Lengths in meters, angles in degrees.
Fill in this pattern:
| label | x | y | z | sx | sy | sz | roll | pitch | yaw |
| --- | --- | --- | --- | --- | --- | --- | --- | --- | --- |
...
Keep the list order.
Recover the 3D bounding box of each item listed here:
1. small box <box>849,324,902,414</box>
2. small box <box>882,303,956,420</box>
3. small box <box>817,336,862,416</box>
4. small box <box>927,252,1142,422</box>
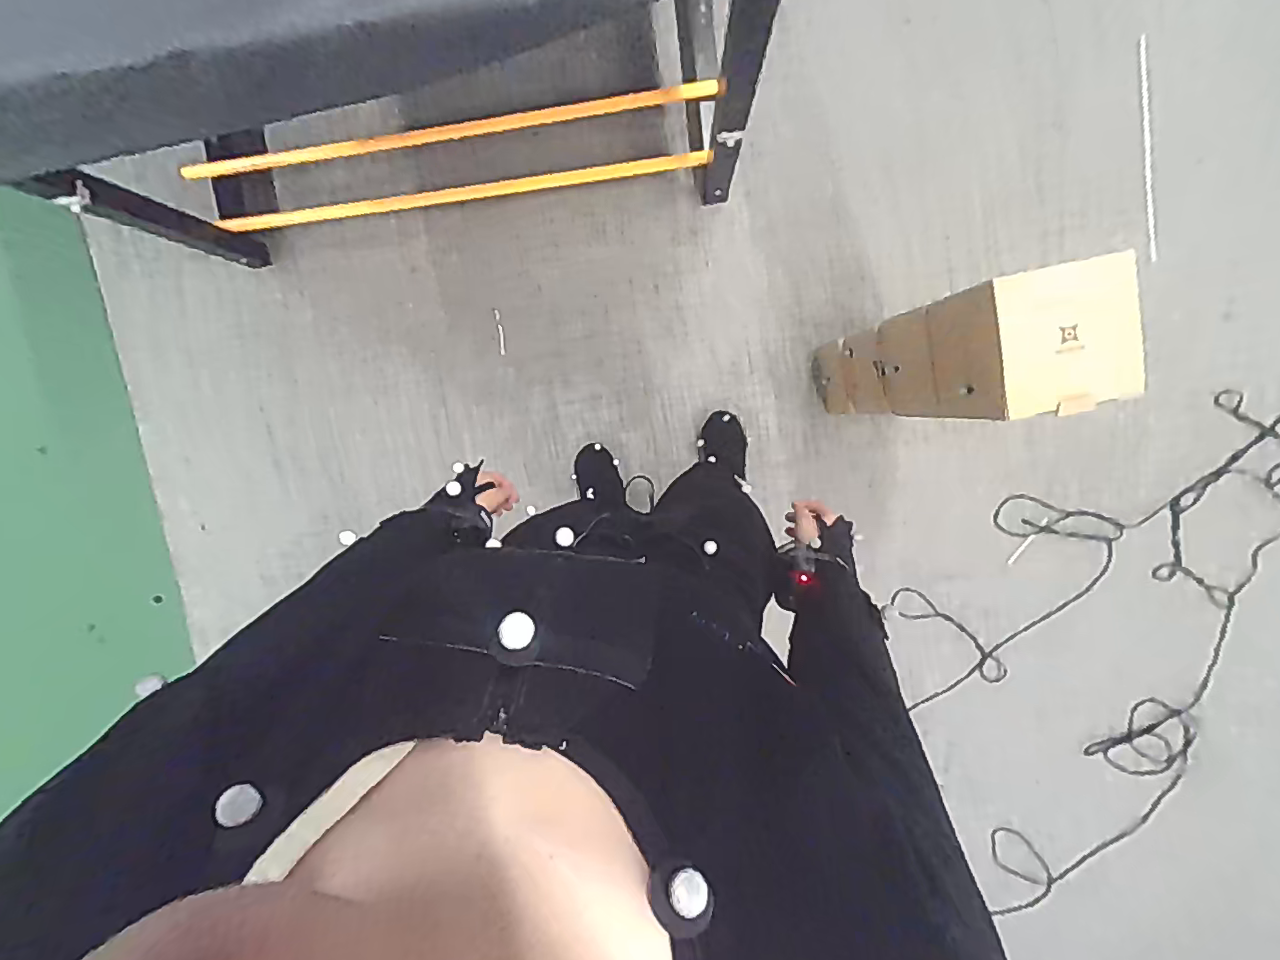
| label | x | y | z | sx | sy | sz | roll | pitch | yaw |
| --- | --- | --- | --- | --- | --- | --- | --- | --- | --- |
| small box | 0.524 | -0.224 | 1.053 | 0.179 | 0.176 | 0.168 | -12 | 97 | 3 |
| small box | 0.520 | -0.204 | 0.890 | 0.168 | 0.176 | 0.179 | -11 | 98 | 4 |
| small box | 0.520 | -0.244 | 1.216 | 0.179 | 0.176 | 0.168 | -13 | 96 | 5 |
| small box | 0.516 | -0.180 | 0.729 | 0.168 | 0.176 | 0.179 | -11 | 96 | 3 |
